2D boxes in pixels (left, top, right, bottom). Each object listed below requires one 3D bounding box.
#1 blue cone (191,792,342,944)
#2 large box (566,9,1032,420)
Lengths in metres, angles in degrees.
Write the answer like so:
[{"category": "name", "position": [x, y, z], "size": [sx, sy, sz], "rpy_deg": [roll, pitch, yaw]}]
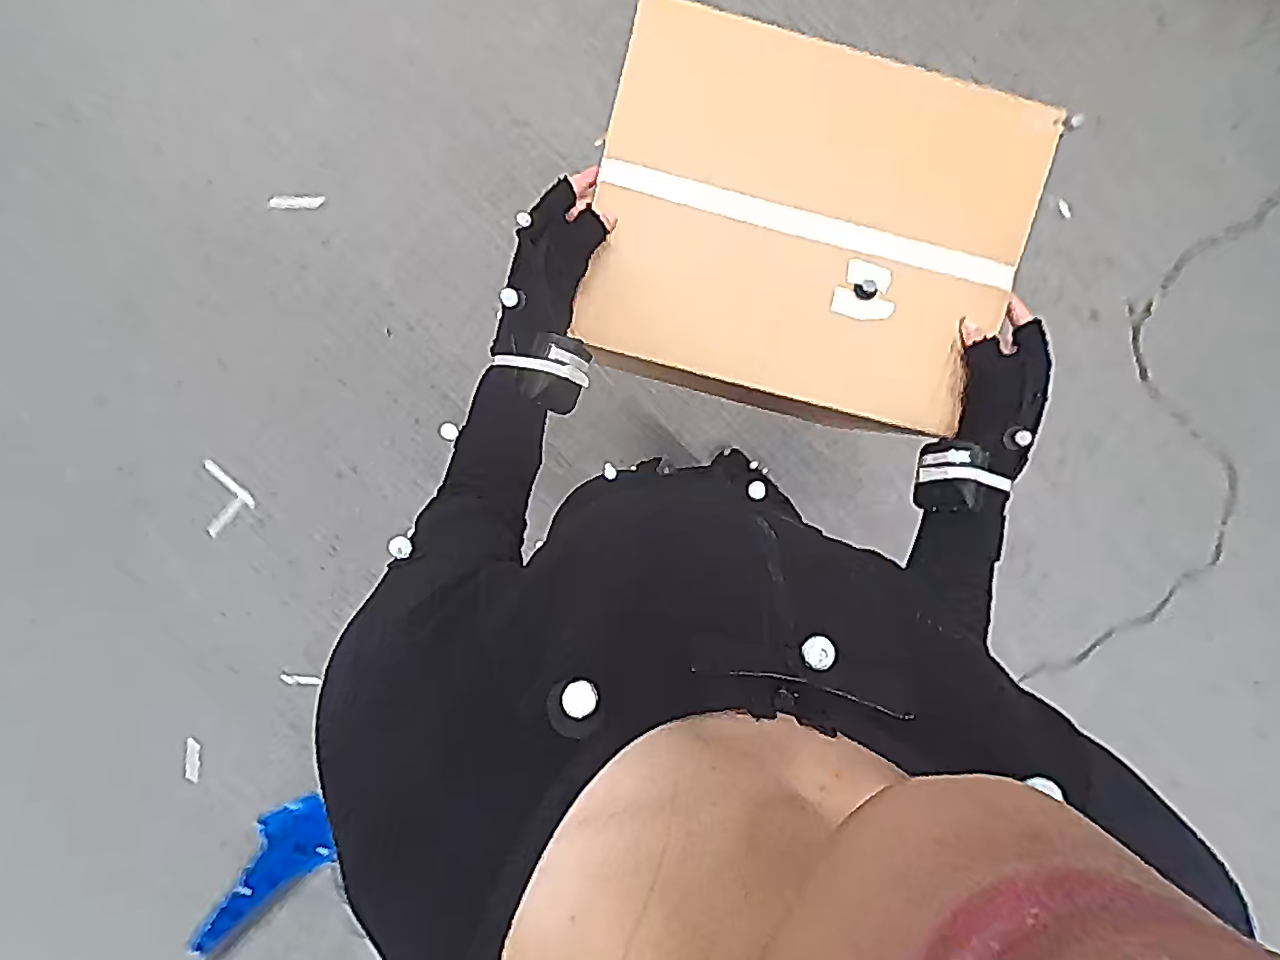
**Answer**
[{"category": "blue cone", "position": [-0.969, 1.011, 1.390], "size": [0.192, 0.380, 0.193], "rpy_deg": [-24, 91, 2]}, {"category": "large box", "position": [0.146, -0.266, 0.670], "size": [0.408, 0.320, 0.320], "rpy_deg": [13, 97, -2]}]
